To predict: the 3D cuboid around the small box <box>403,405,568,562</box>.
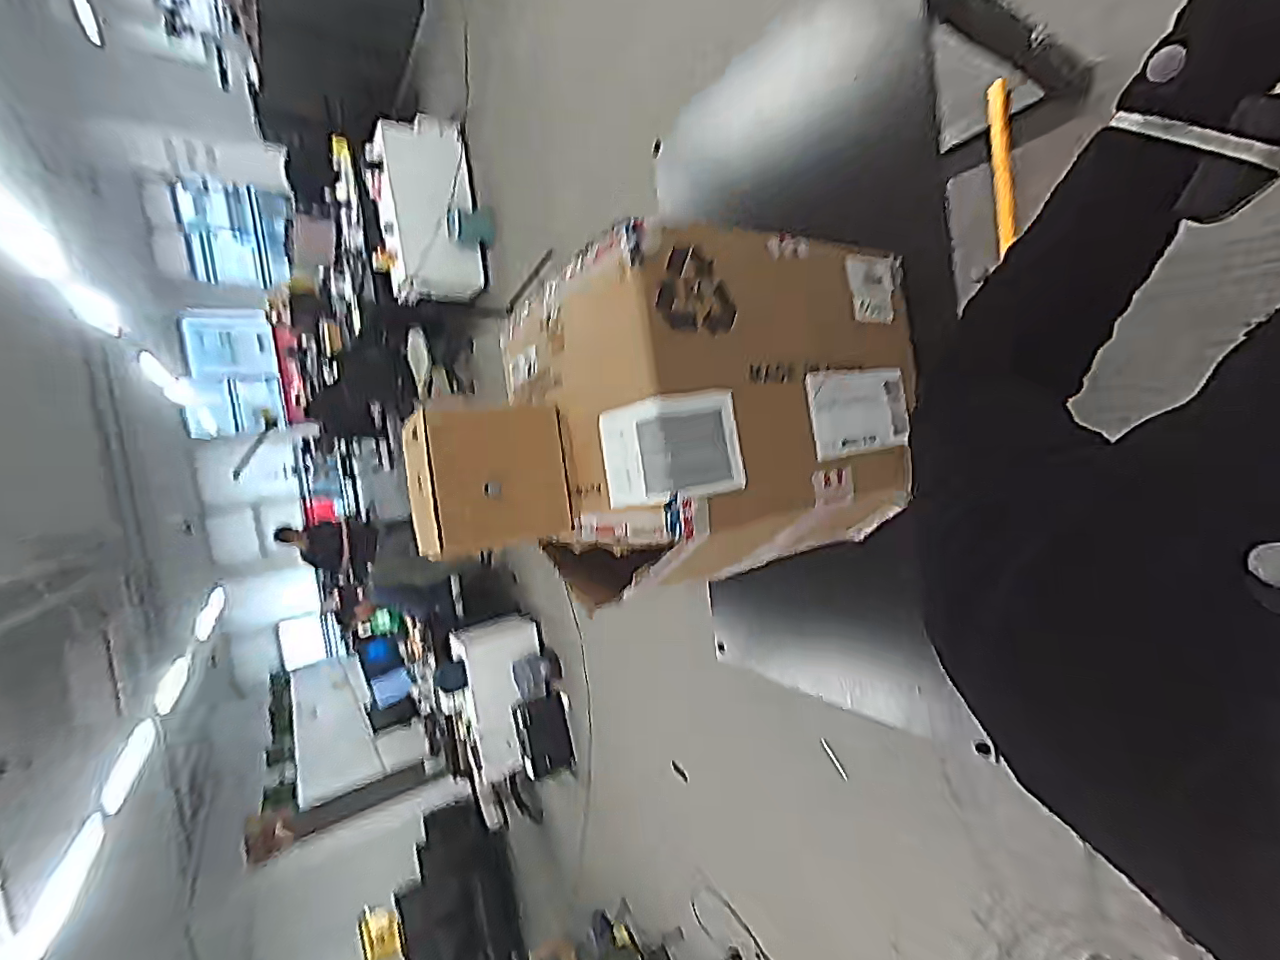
[{"bbox_3d":[-0.209,0.003,0.729,0.168,0.176,0.179,-9,90,59],"label":"small box"}]
